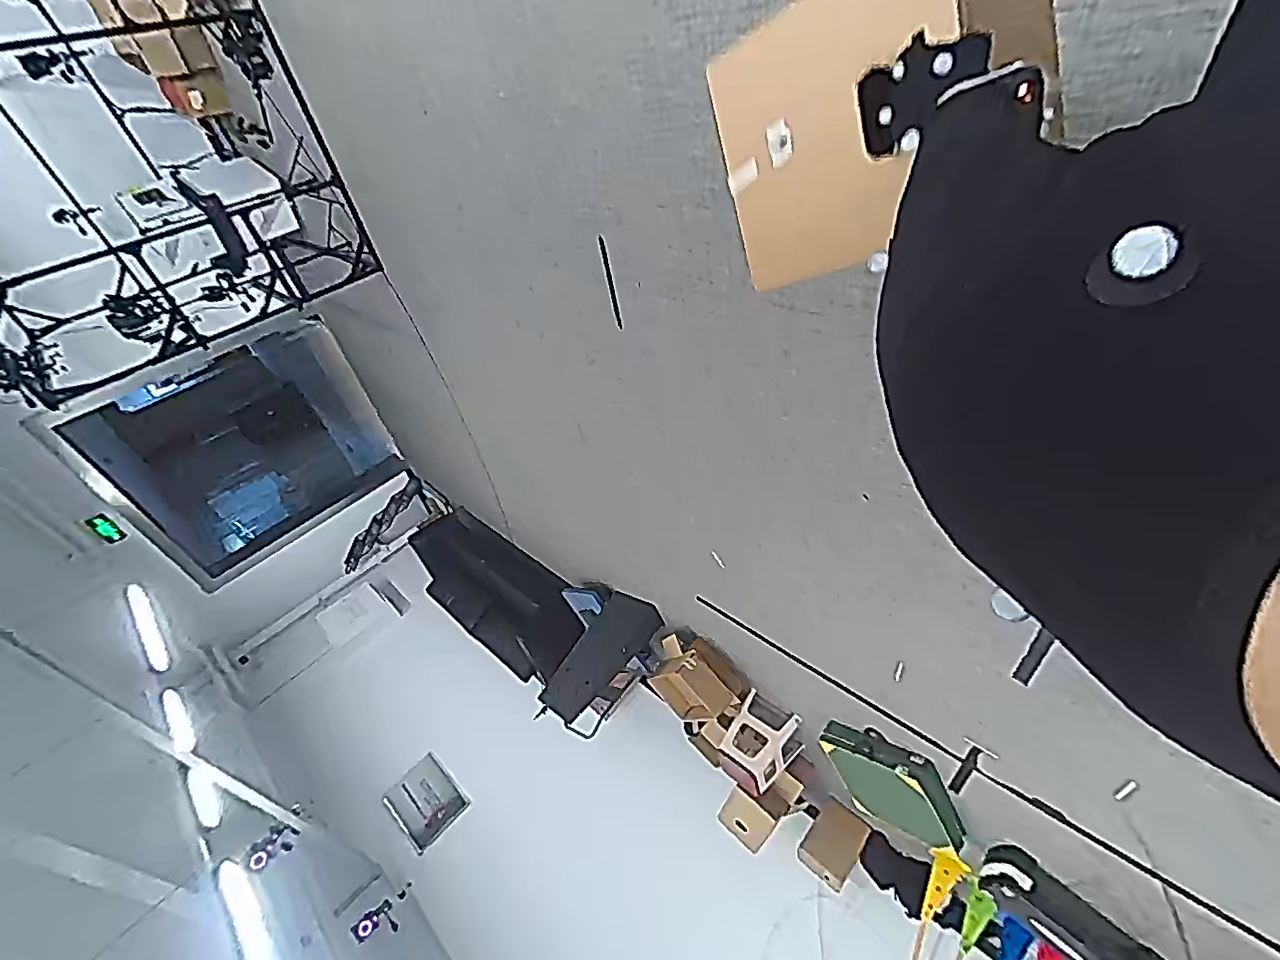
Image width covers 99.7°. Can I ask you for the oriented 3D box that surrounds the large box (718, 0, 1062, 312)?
[{"bbox_3d":[0.384,-0.476,0.811,0.320,0.408,0.320,0,112,49],"label":"large box"}]
